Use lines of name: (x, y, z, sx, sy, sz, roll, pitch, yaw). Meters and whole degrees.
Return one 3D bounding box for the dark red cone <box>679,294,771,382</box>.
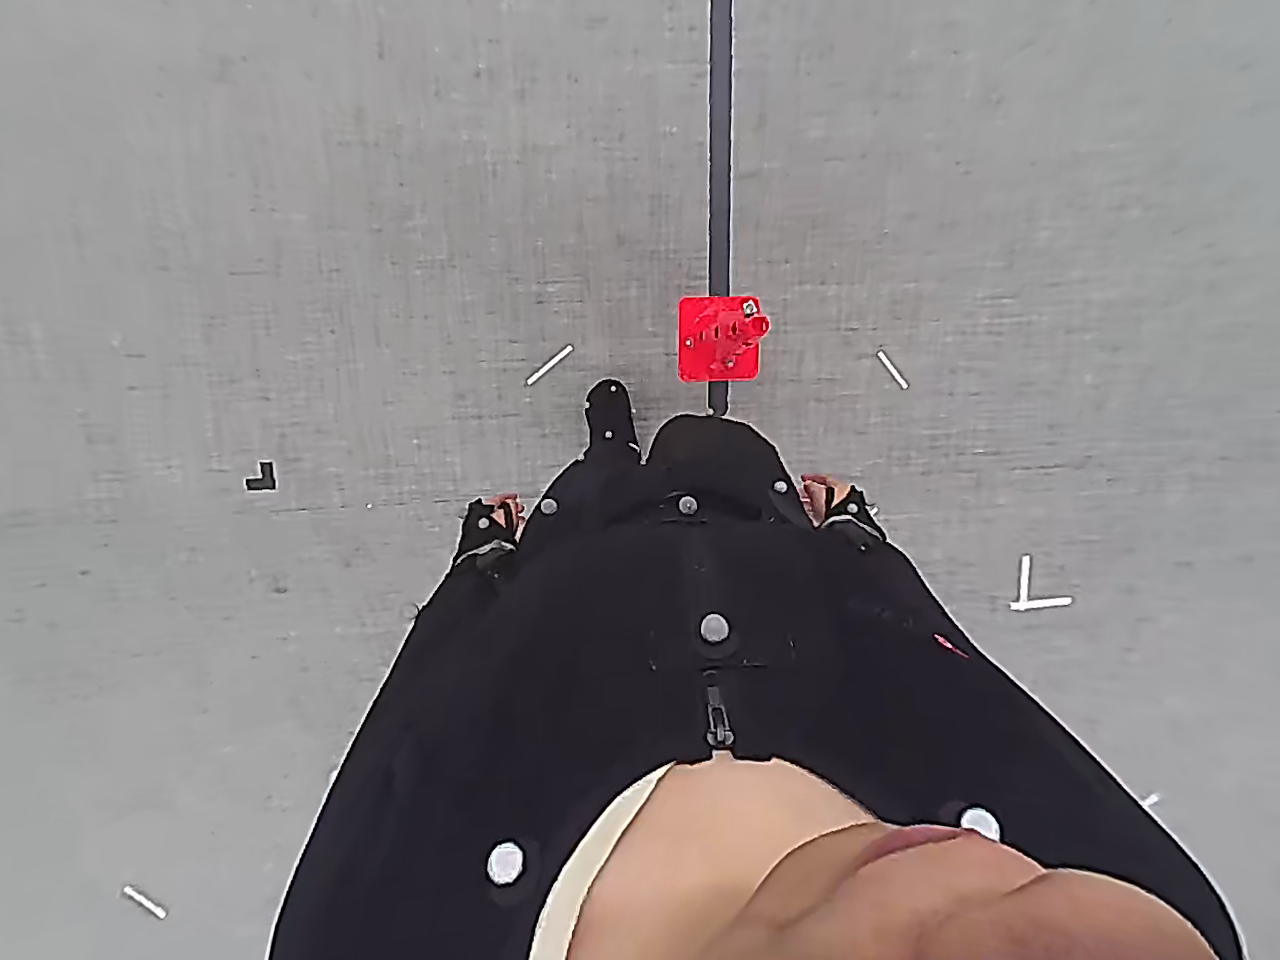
dark red cone: (0.202, -0.305, 1.126, 0.201, 0.394, 0.202, -3, 101, -2)
